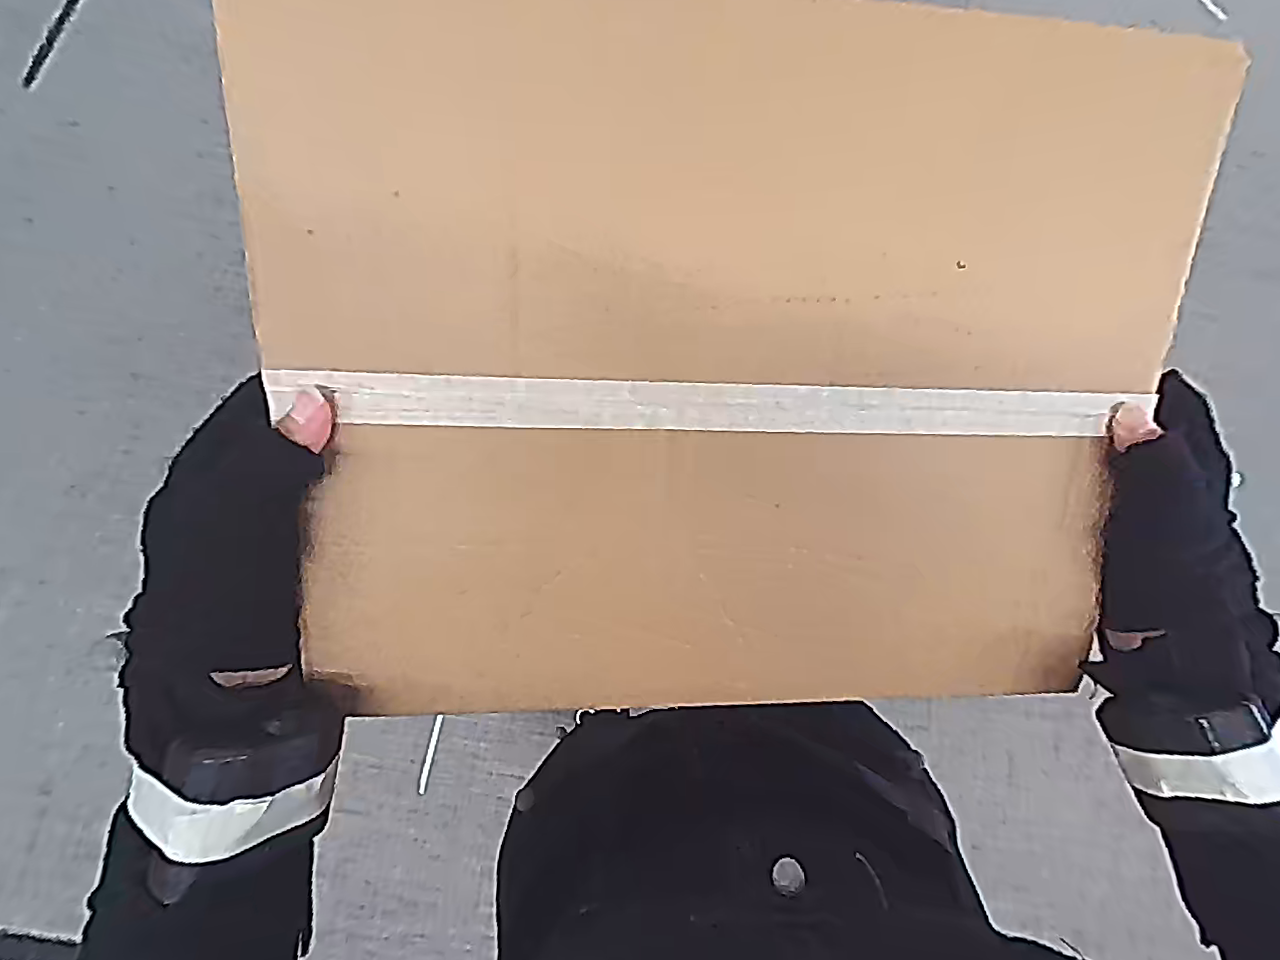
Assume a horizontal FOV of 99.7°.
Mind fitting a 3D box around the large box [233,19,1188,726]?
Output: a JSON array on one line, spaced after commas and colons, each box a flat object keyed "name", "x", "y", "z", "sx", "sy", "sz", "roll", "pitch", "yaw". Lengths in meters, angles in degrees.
[{"name": "large box", "x": 0.030, "y": -0.065, "z": 0.400, "sx": 0.408, "sy": 0.320, "sz": 0.320, "roll": -1, "pitch": 104, "yaw": -7}]
